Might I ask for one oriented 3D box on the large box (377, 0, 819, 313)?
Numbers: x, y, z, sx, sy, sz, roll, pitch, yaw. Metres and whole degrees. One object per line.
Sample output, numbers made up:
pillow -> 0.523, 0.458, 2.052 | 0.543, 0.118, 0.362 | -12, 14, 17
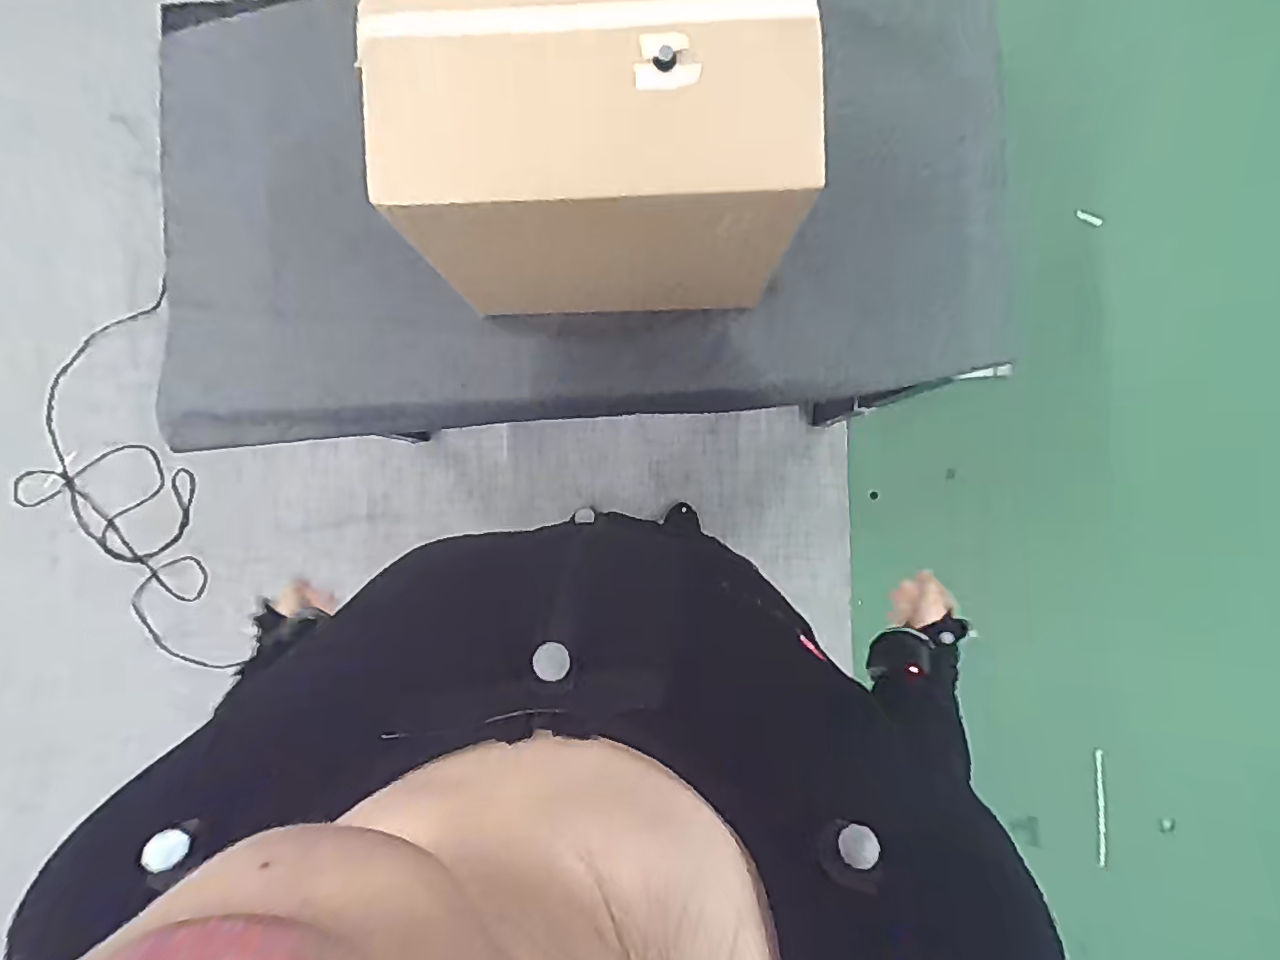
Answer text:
large box -> -0.043, -0.407, 0.642 | 0.408, 0.320, 0.320 | -2, 90, 0
